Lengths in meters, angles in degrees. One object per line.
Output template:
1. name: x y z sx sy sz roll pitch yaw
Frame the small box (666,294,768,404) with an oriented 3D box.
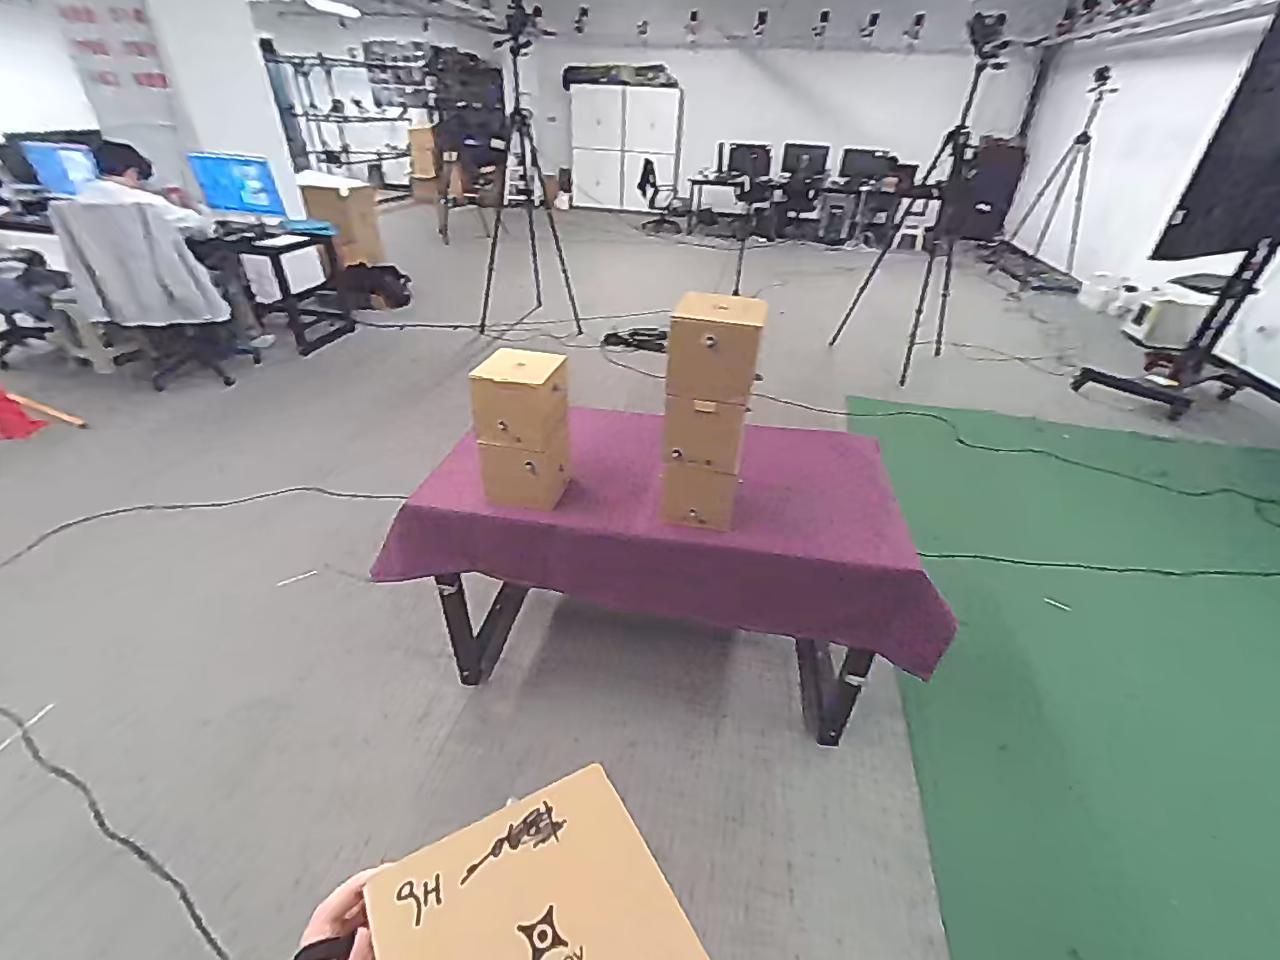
1. small box: 0.155 -0.269 1.107 0.179 0.176 0.168 11 37 12

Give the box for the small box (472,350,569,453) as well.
1. small box: -0.270 -0.183 1.256 0.168 0.176 0.179 9 35 9

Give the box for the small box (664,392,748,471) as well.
1. small box: 0.151 -0.138 1.205 0.168 0.176 0.179 9 34 11

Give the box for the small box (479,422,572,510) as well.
1. small box: -0.274 -0.043 1.339 0.179 0.176 0.168 8 34 9
